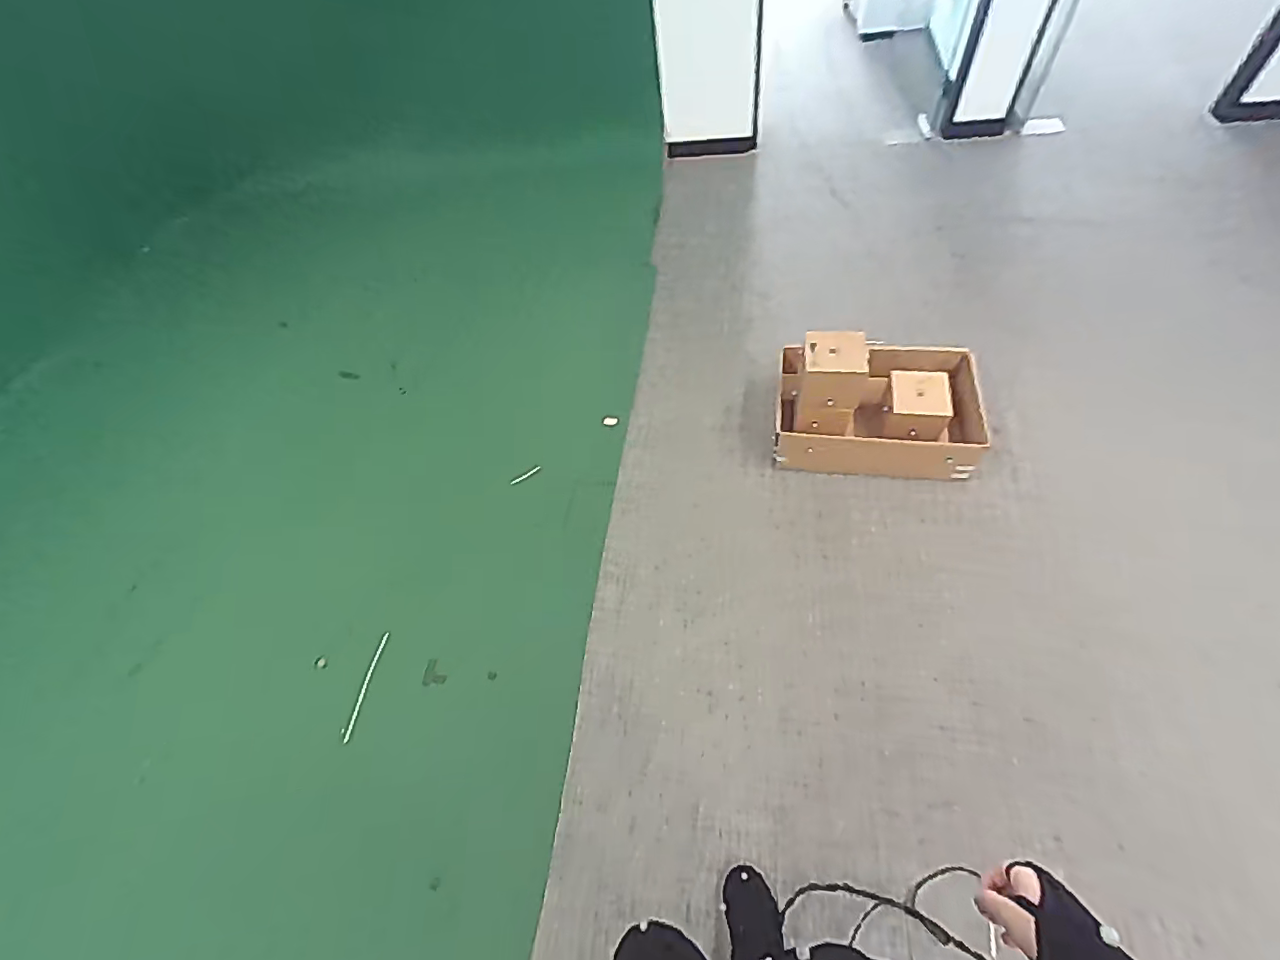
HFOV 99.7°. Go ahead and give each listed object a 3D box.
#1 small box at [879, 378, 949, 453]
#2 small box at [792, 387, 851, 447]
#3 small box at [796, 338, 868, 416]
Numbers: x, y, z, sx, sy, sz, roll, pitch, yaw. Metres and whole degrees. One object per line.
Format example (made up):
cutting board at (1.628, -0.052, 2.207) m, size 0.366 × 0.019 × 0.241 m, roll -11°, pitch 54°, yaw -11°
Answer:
small box at (0.876, -0.205, 1.741) m, size 0.168 × 0.176 × 0.179 m, roll 5°, pitch 58°, yaw 13°
small box at (0.600, -0.226, 1.795) m, size 0.168 × 0.176 × 0.179 m, roll 5°, pitch 57°, yaw 11°
small box at (0.582, -0.312, 1.656) m, size 0.179 × 0.176 × 0.168 m, roll 4°, pitch 57°, yaw 10°
